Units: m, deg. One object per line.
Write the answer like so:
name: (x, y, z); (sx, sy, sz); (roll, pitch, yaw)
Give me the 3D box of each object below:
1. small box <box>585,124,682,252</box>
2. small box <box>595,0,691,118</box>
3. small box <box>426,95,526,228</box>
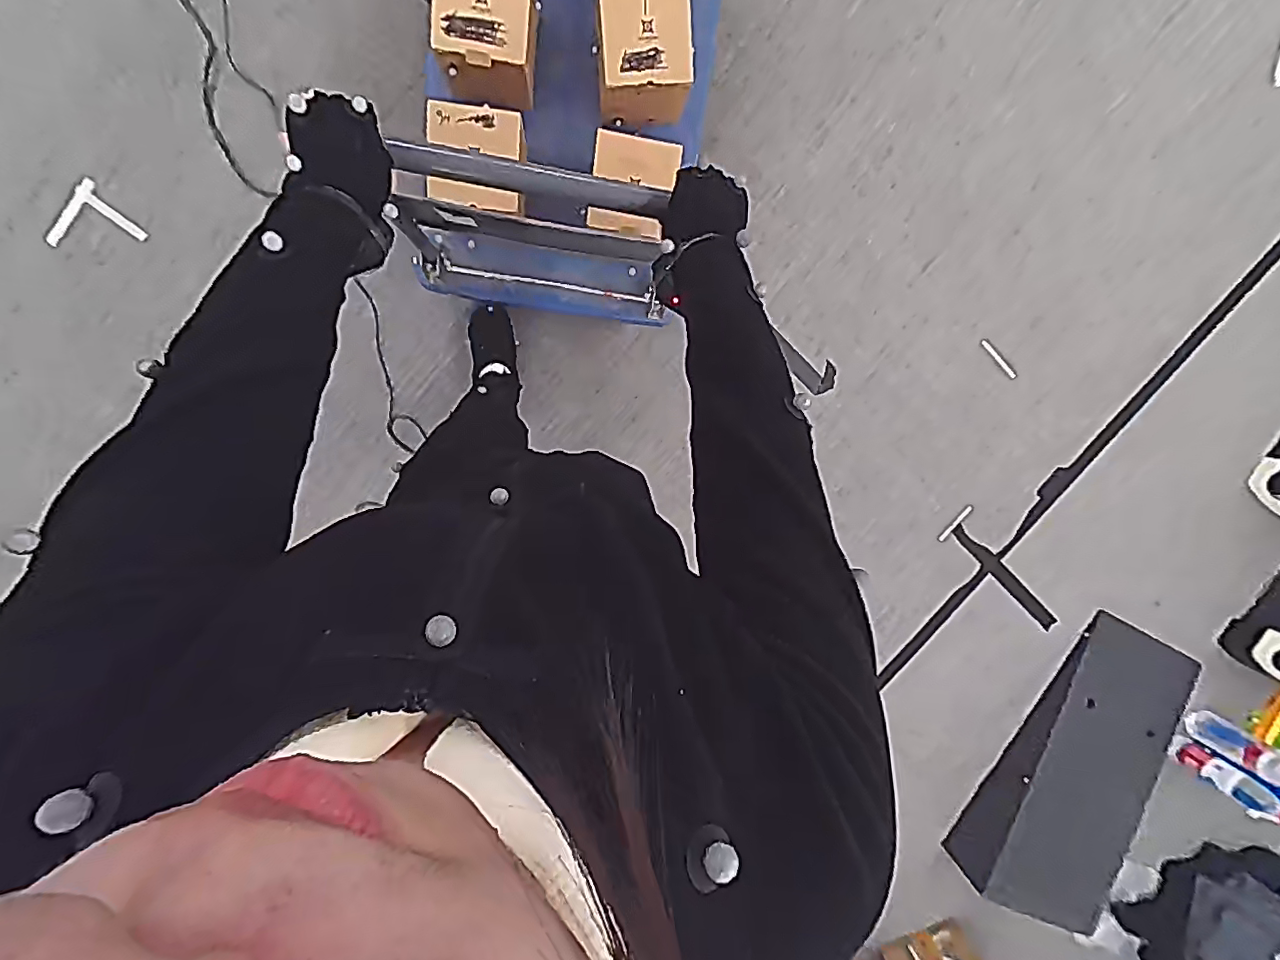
small box: (-0.021, -0.584, 1.108); (0.168, 0.176, 0.179); (7, 100, -9)
small box: (0.002, -0.835, 1.056); (0.168, 0.176, 0.179); (-5, 102, -6)
small box: (-0.314, -0.611, 1.063); (0.168, 0.176, 0.179); (3, 102, -9)
